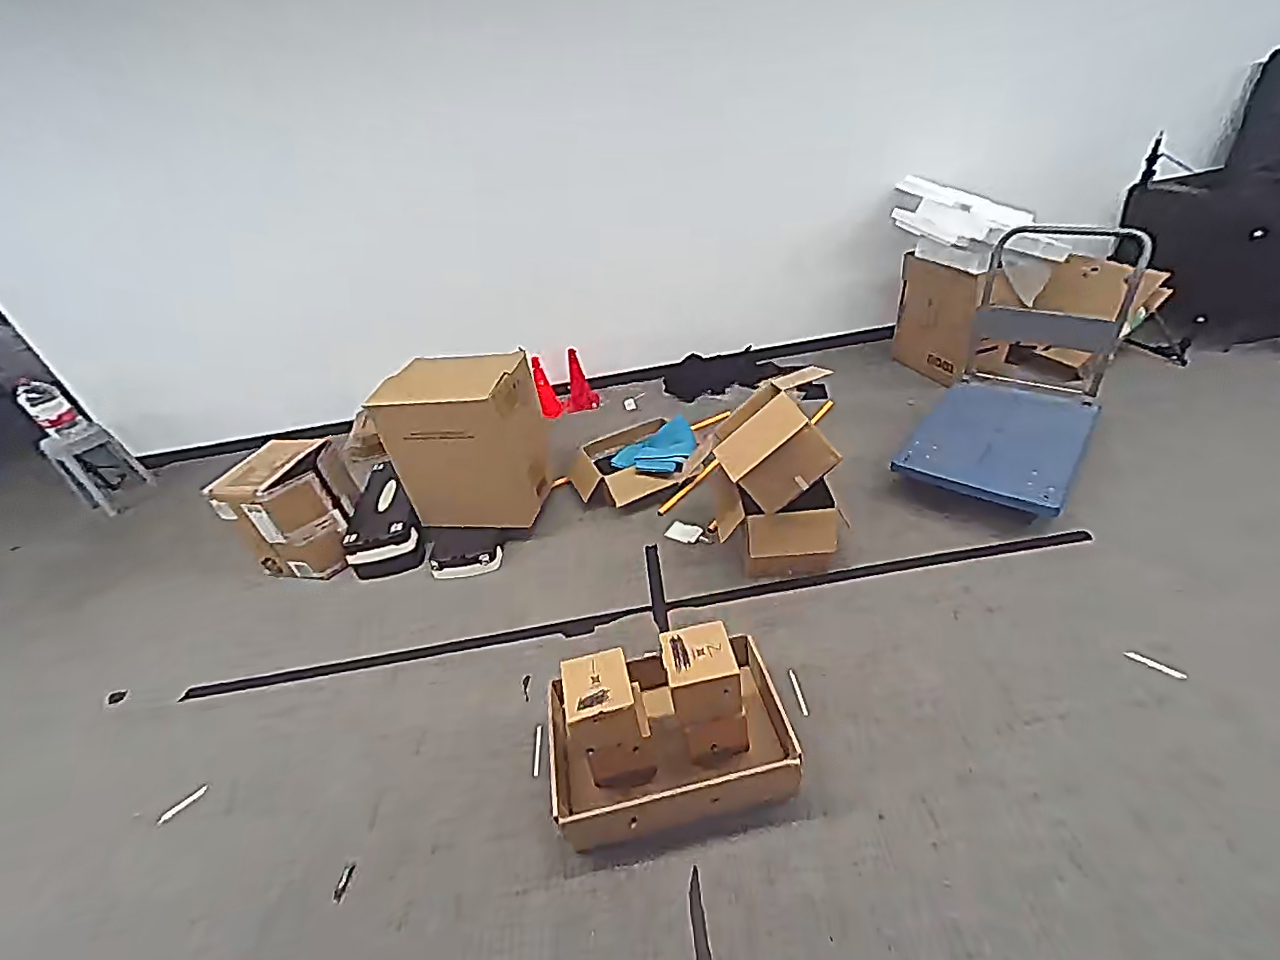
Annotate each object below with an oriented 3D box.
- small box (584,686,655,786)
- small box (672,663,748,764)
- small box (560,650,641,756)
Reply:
[{"bbox_3d":[-0.061,0.697,1.472,0.179,0.176,0.168,-13,34,-6],"label":"small box"},{"bbox_3d":[0.191,0.642,1.490,0.168,0.176,0.179,-14,35,-3],"label":"small box"},{"bbox_3d":[-0.099,0.571,1.371,0.168,0.176,0.179,-13,34,-6],"label":"small box"}]
